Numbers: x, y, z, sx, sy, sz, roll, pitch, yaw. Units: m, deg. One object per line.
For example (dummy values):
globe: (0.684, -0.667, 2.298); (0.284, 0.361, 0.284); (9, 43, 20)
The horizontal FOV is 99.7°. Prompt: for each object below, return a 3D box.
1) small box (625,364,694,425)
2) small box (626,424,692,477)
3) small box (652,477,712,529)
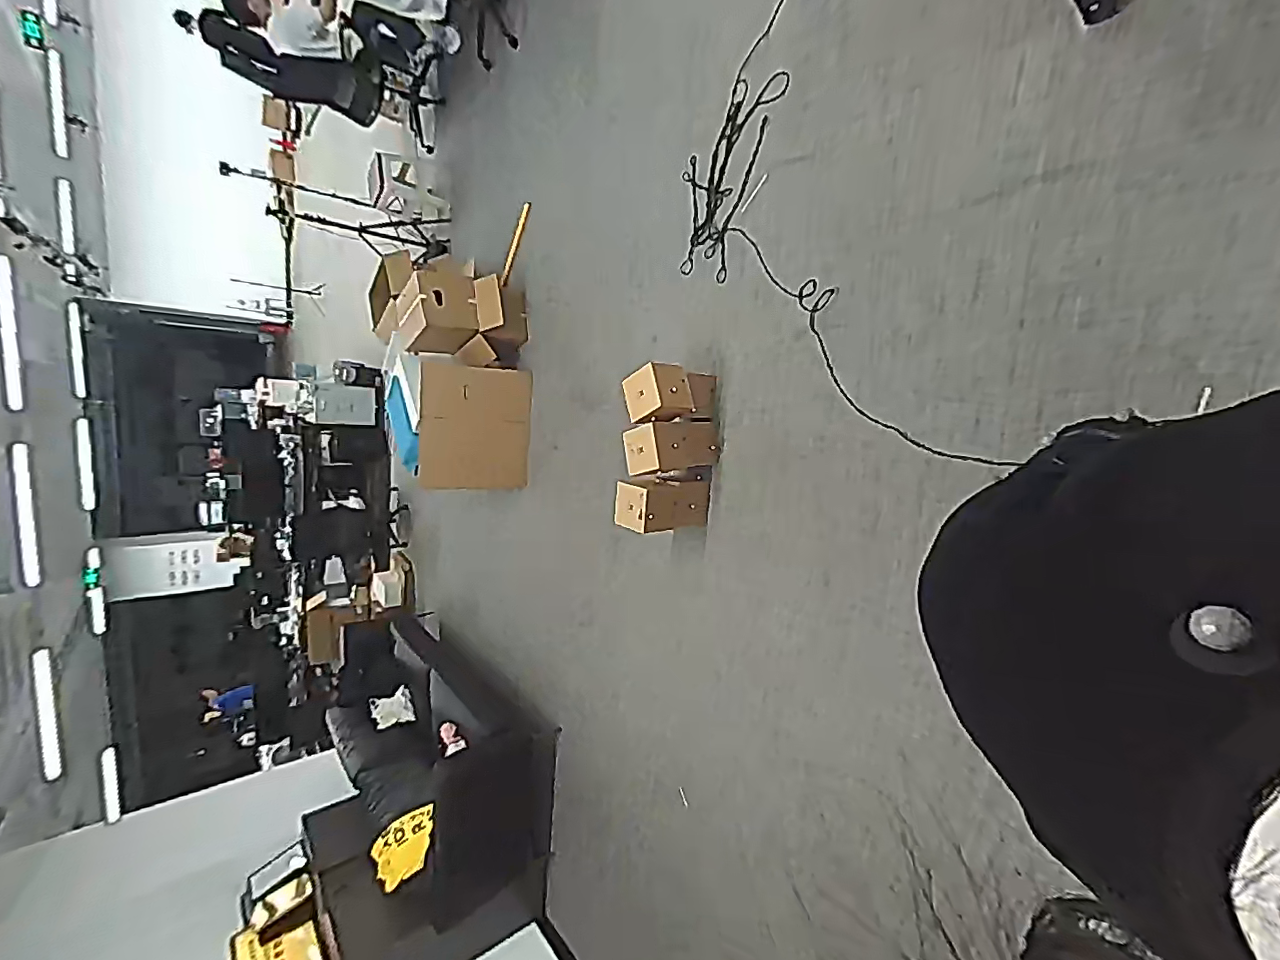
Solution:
small box: (0.076, -0.304, 1.948); (0.179, 0.176, 0.168); (-26, 73, 49)
small box: (0.075, -0.108, 1.968); (0.179, 0.176, 0.168); (-14, 82, 51)
small box: (0.166, 0.084, 2.128); (0.168, 0.176, 0.179); (13, 104, 50)
